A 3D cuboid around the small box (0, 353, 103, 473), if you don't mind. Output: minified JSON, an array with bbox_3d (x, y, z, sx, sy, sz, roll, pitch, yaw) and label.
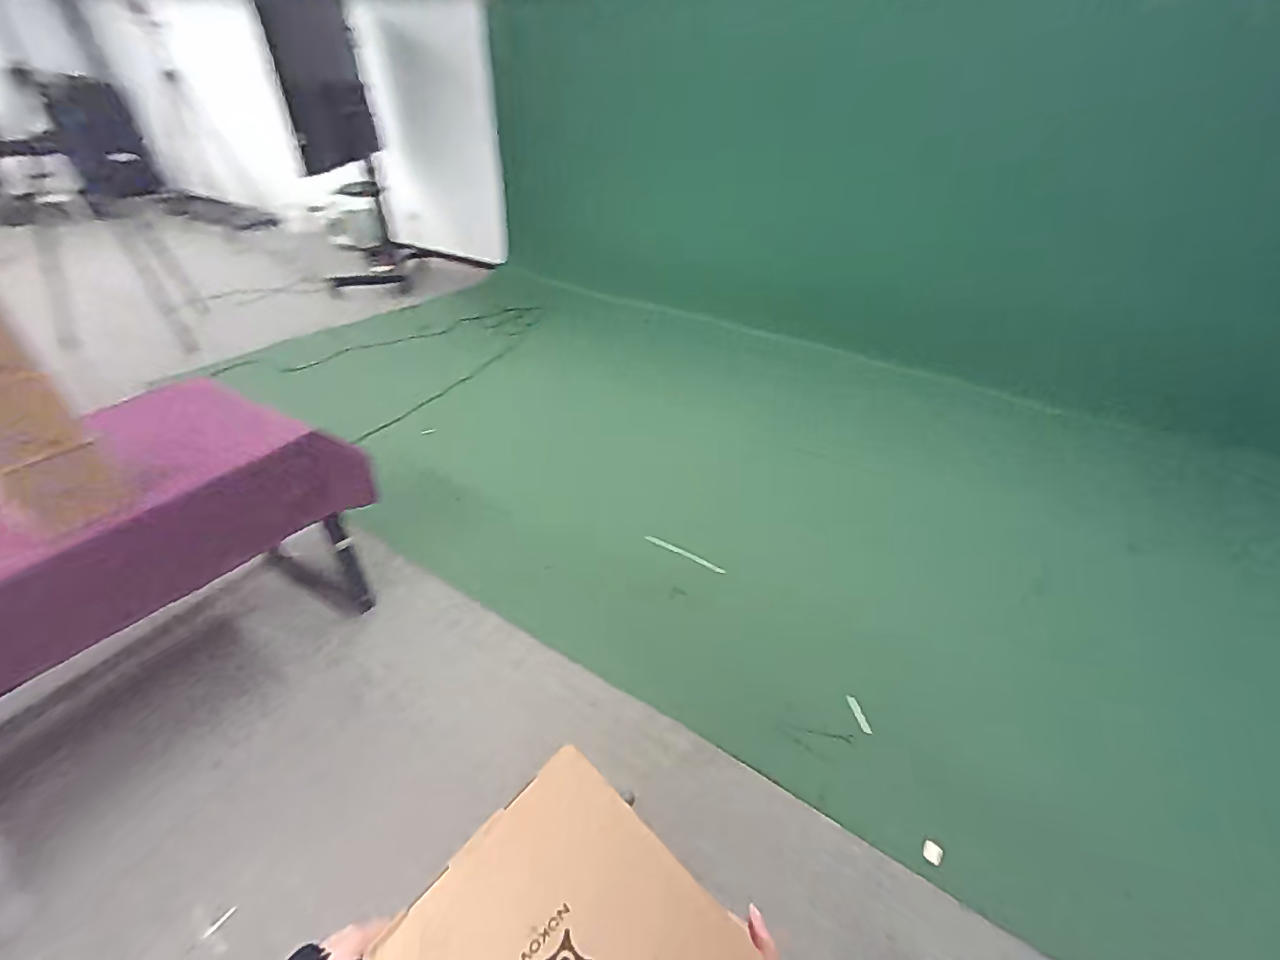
[{"bbox_3d":[-1.250,-0.135,1.084,0.179,0.176,0.168,21,39,23],"label":"small box"}]

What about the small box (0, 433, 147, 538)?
[{"bbox_3d":[-1.247,-0.002,1.178,0.168,0.176,0.179,20,40,23],"label":"small box"}]
